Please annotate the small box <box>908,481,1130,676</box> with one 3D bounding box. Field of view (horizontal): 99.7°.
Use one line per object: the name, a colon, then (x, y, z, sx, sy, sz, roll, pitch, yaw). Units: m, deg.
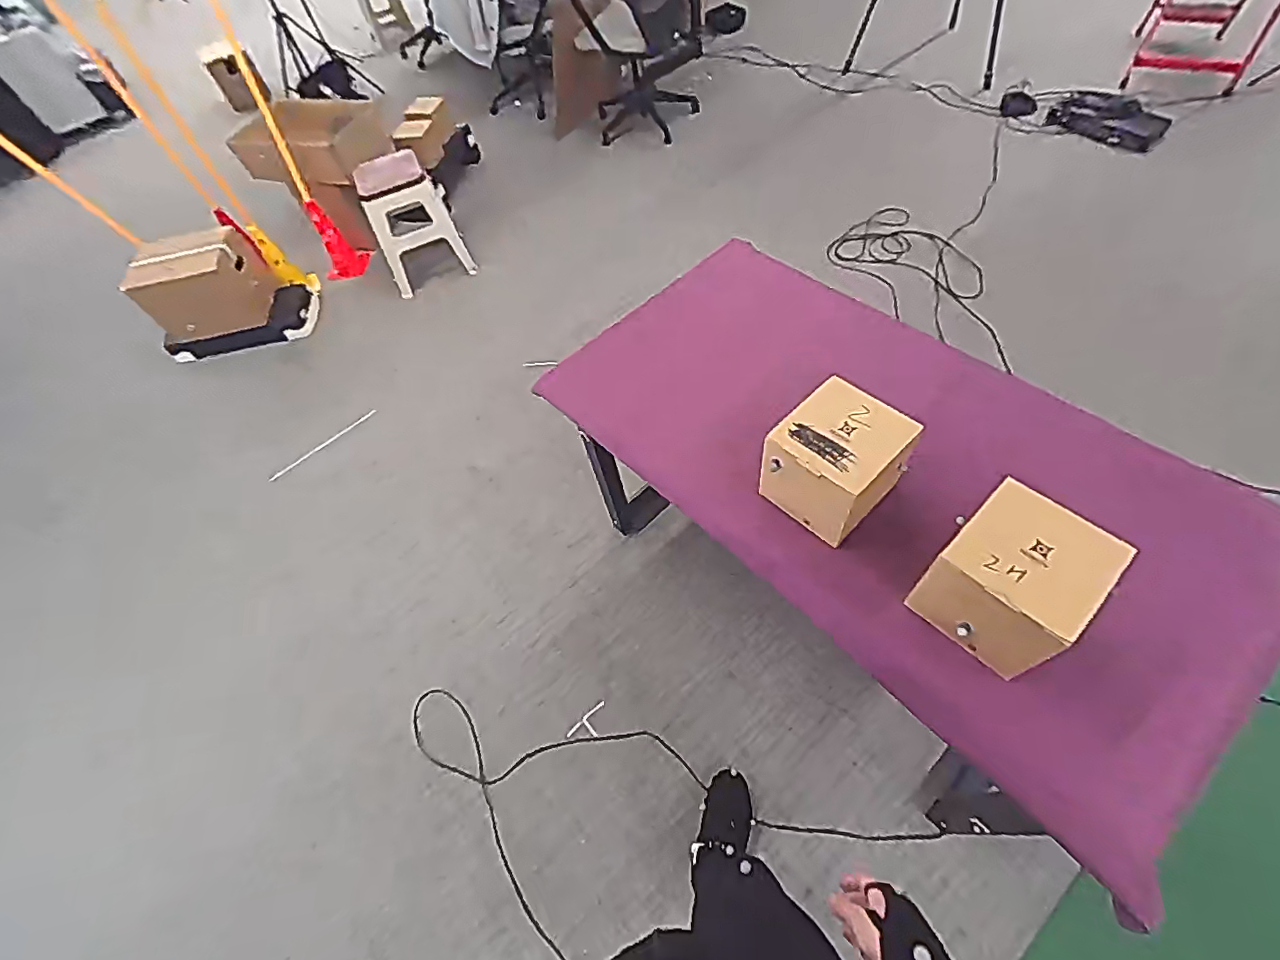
small box: (0.511, 0.141, 0.758, 0.179, 0.176, 0.168, -39, 60, -17)
